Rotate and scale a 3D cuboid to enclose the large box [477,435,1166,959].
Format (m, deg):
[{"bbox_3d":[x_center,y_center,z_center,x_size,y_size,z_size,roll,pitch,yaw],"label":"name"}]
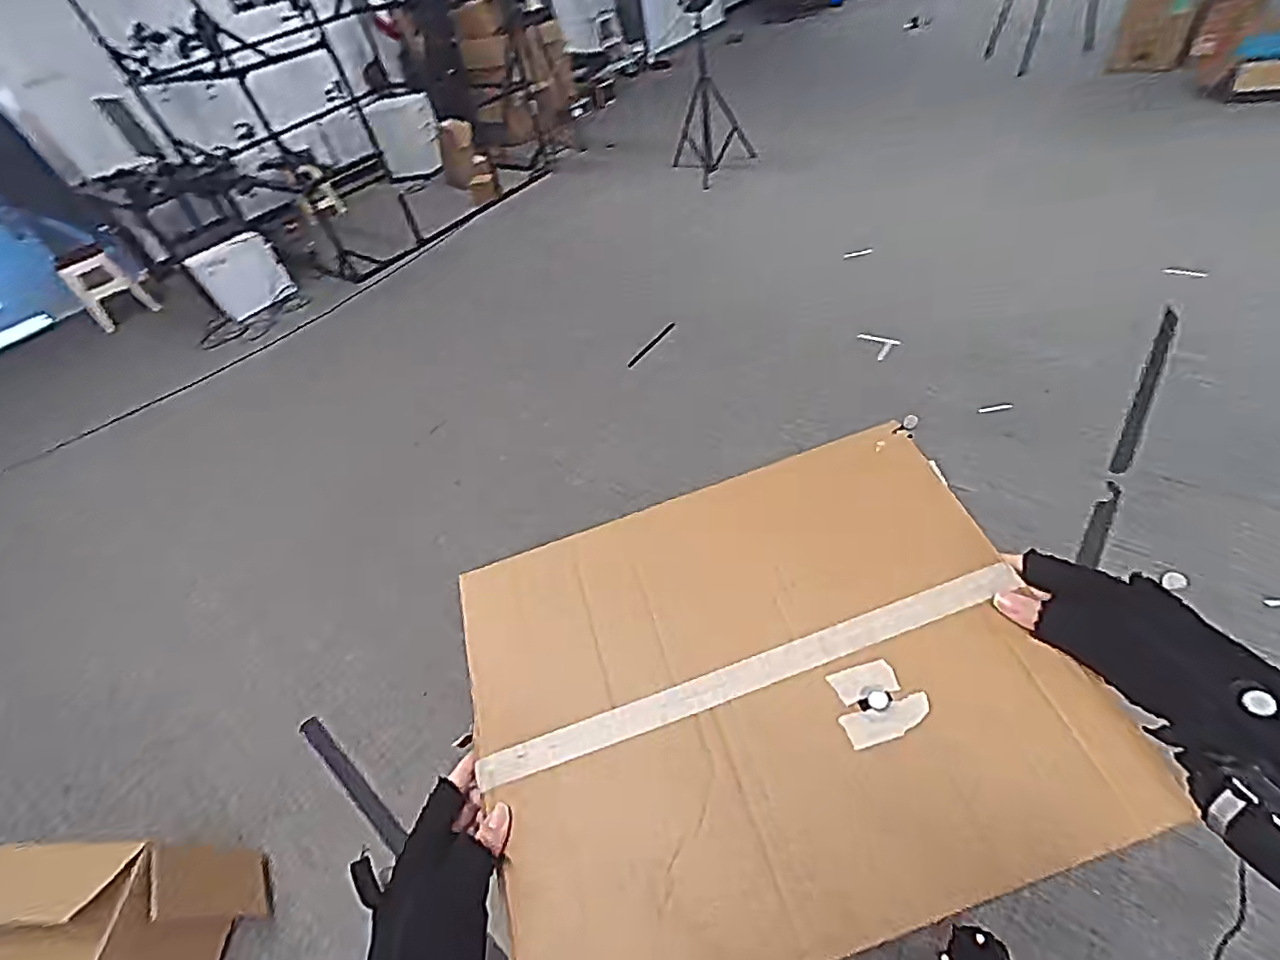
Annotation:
[{"bbox_3d":[0.110,0.223,0.521,0.408,0.320,0.320,-20,57,-3],"label":"large box"}]
